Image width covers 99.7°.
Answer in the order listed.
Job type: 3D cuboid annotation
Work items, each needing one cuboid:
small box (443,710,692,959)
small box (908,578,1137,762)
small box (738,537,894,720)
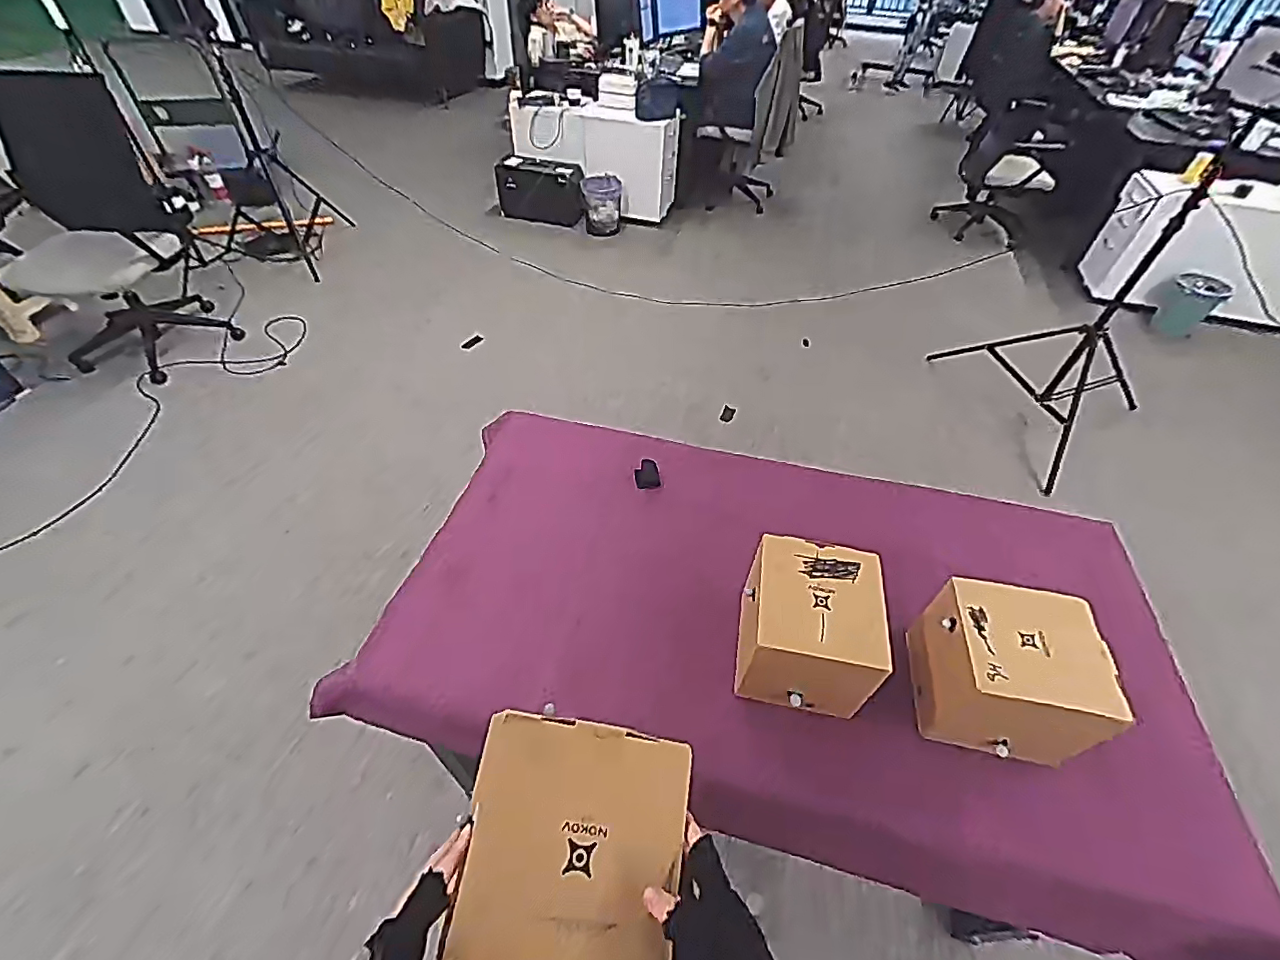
[{"bbox_3d":[-0.066,0.314,0.478,0.168,0.176,0.179,14,62,-10],"label":"small box"},{"bbox_3d":[0.494,0.262,0.733,0.179,0.176,0.168,10,47,6],"label":"small box"},{"bbox_3d":[0.237,0.210,0.768,0.168,0.176,0.179,10,48,6],"label":"small box"}]
